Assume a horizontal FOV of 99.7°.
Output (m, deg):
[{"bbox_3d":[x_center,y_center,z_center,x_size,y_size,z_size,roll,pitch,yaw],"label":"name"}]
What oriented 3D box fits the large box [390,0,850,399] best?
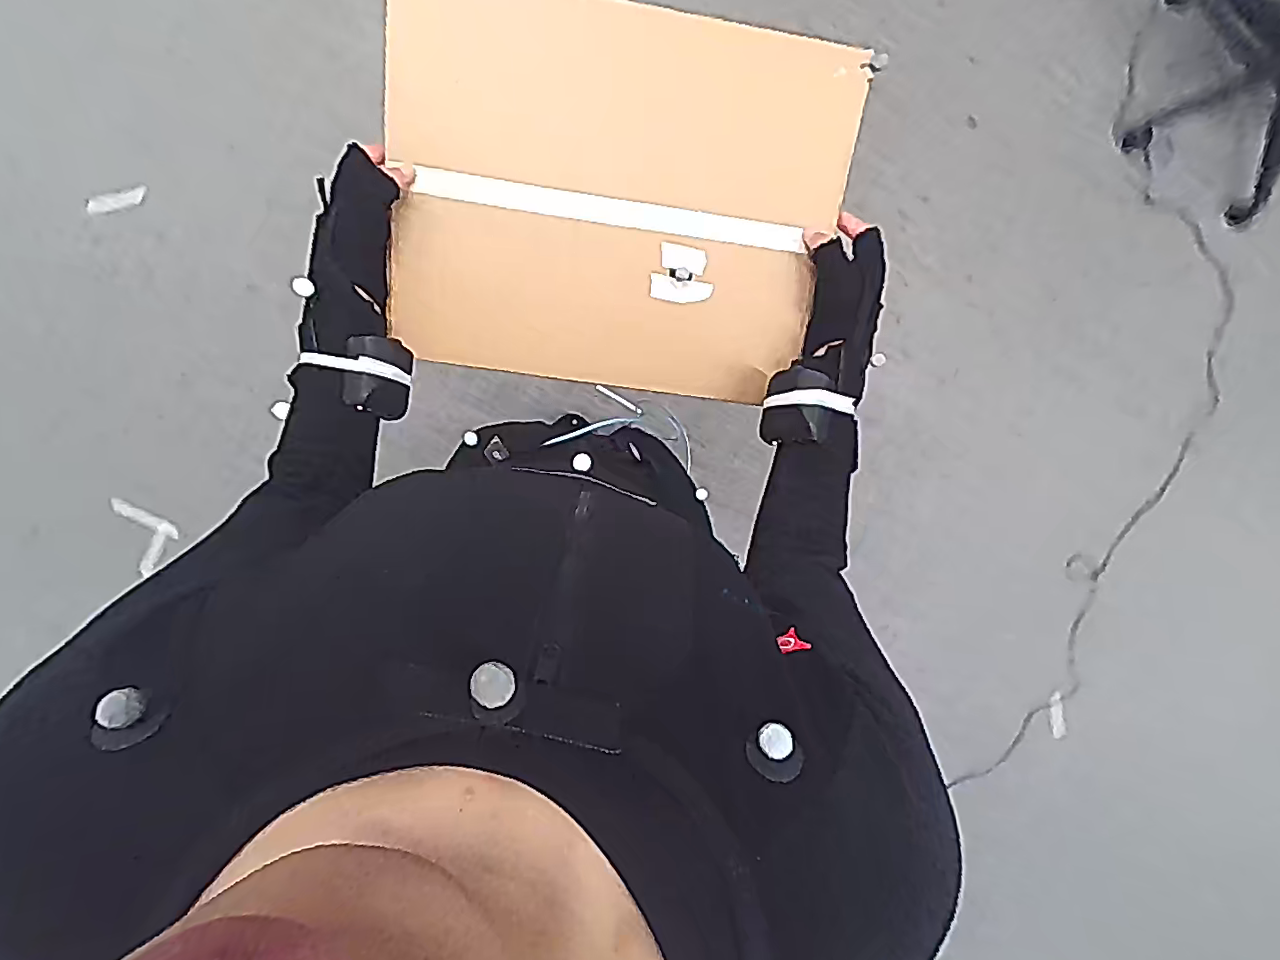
[{"bbox_3d":[-0.035,-0.288,0.646,0.408,0.320,0.320,5,108,-6],"label":"large box"}]
